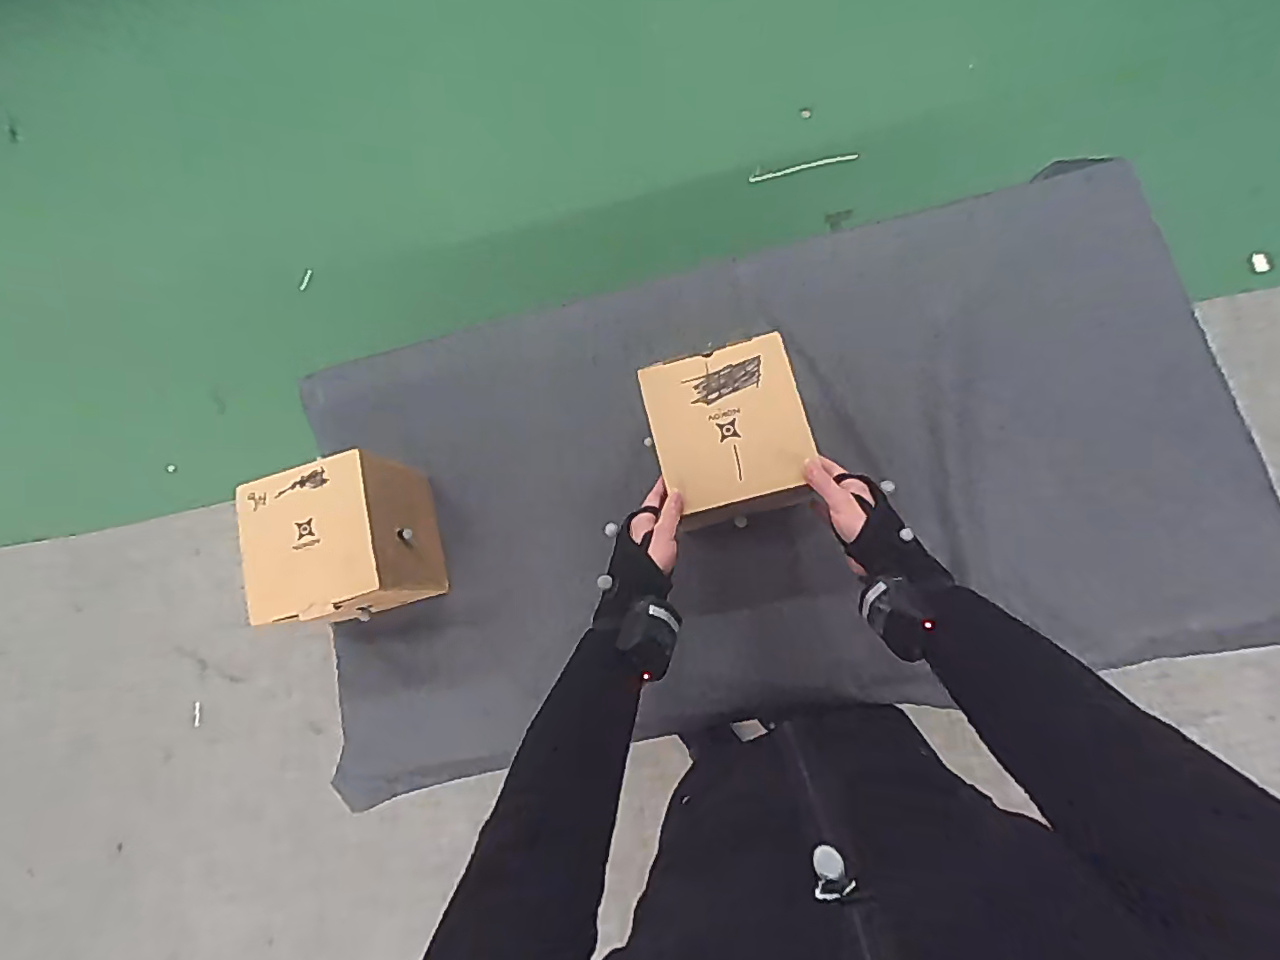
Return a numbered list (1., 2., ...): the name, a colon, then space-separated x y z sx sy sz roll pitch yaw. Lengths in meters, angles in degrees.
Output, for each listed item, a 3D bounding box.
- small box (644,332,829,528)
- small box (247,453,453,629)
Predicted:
1. small box: 0.111 -0.048 0.662 0.168 0.176 0.179 -15 78 6
2. small box: -0.369 0.083 0.713 0.168 0.176 0.179 -17 78 5
